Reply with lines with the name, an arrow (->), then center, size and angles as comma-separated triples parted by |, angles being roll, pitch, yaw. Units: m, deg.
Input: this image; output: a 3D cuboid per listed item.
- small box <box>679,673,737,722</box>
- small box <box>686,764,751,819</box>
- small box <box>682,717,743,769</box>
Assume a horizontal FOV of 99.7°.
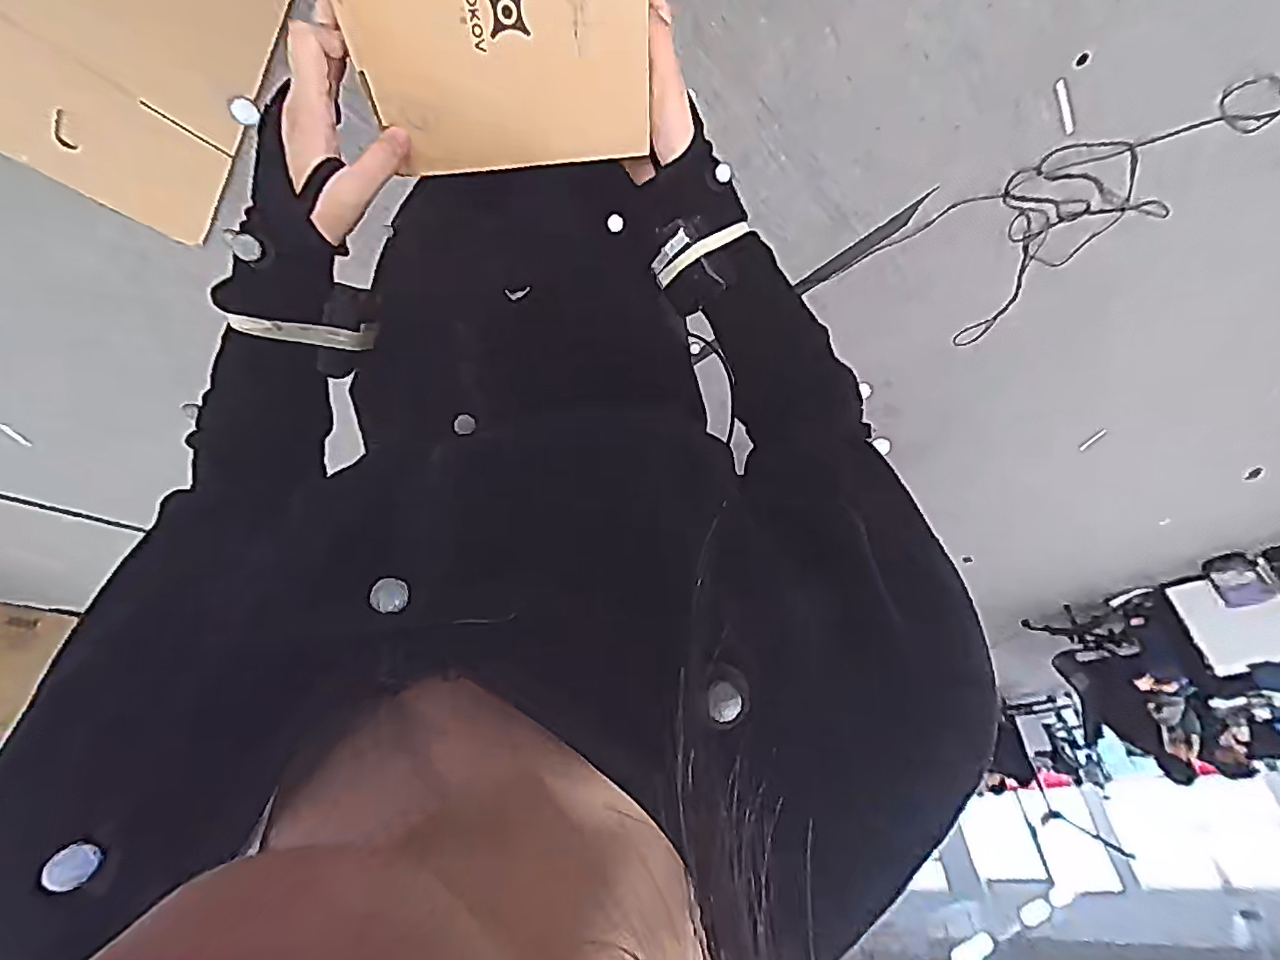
small box -> 0.278, 0.902, 2.225 | 0.168, 0.176, 0.179 | -28, 140, 31
small box -> 0.292, 1.172, 2.040 | 0.168, 0.176, 0.179 | -27, 141, 29
small box -> 0.286, 1.037, 2.133 | 0.168, 0.176, 0.179 | -27, 142, 29
